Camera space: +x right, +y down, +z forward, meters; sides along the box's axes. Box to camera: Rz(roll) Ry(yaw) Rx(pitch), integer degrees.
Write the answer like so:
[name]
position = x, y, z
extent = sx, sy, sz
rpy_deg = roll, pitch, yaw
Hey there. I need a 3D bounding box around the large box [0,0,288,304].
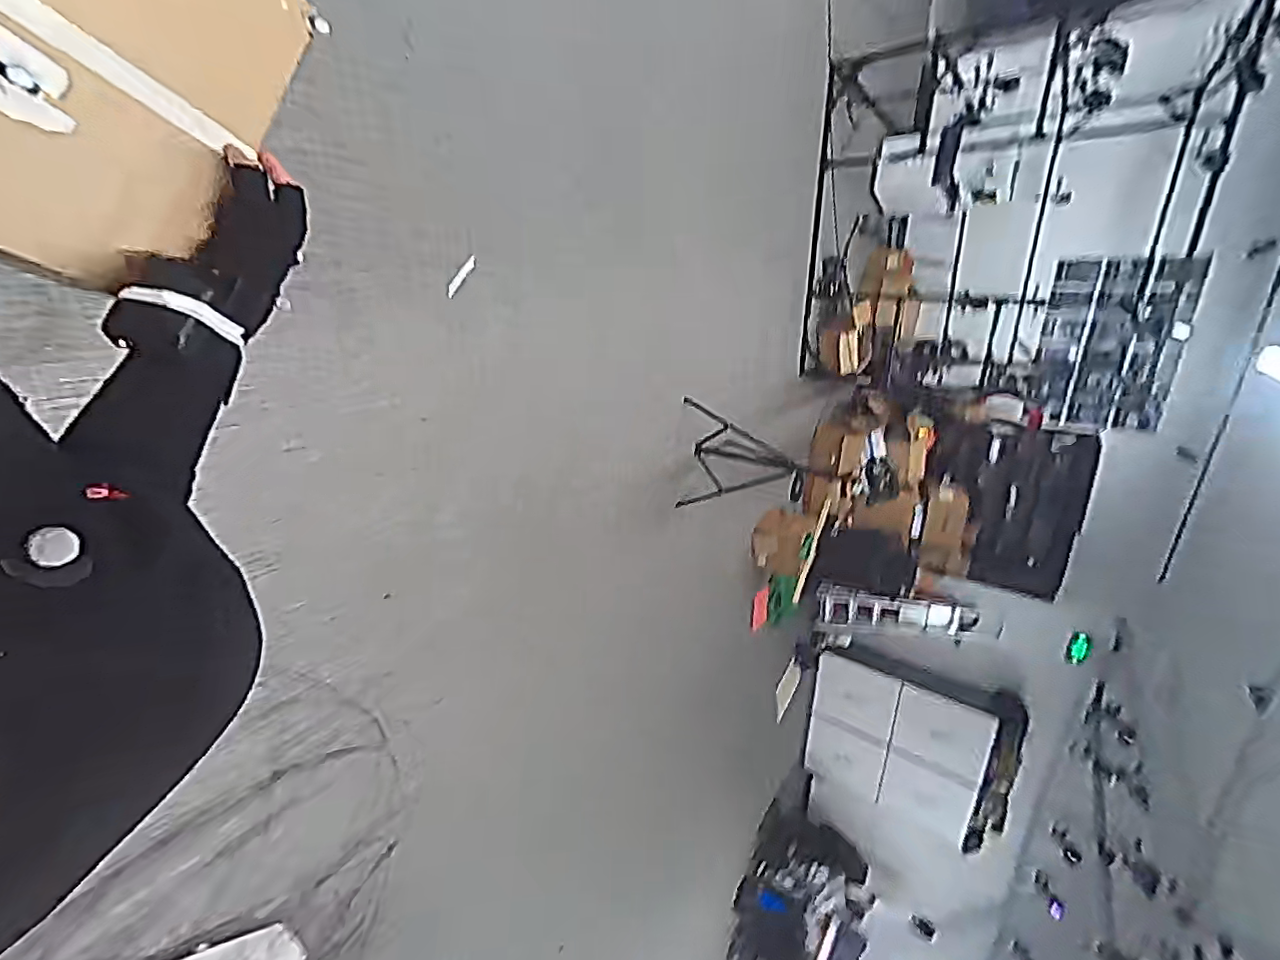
[large box]
position = -0.581, -0.374, 0.384
extent = 0.408, 0.320, 0.320
rpy_deg = 24, 86, -62
